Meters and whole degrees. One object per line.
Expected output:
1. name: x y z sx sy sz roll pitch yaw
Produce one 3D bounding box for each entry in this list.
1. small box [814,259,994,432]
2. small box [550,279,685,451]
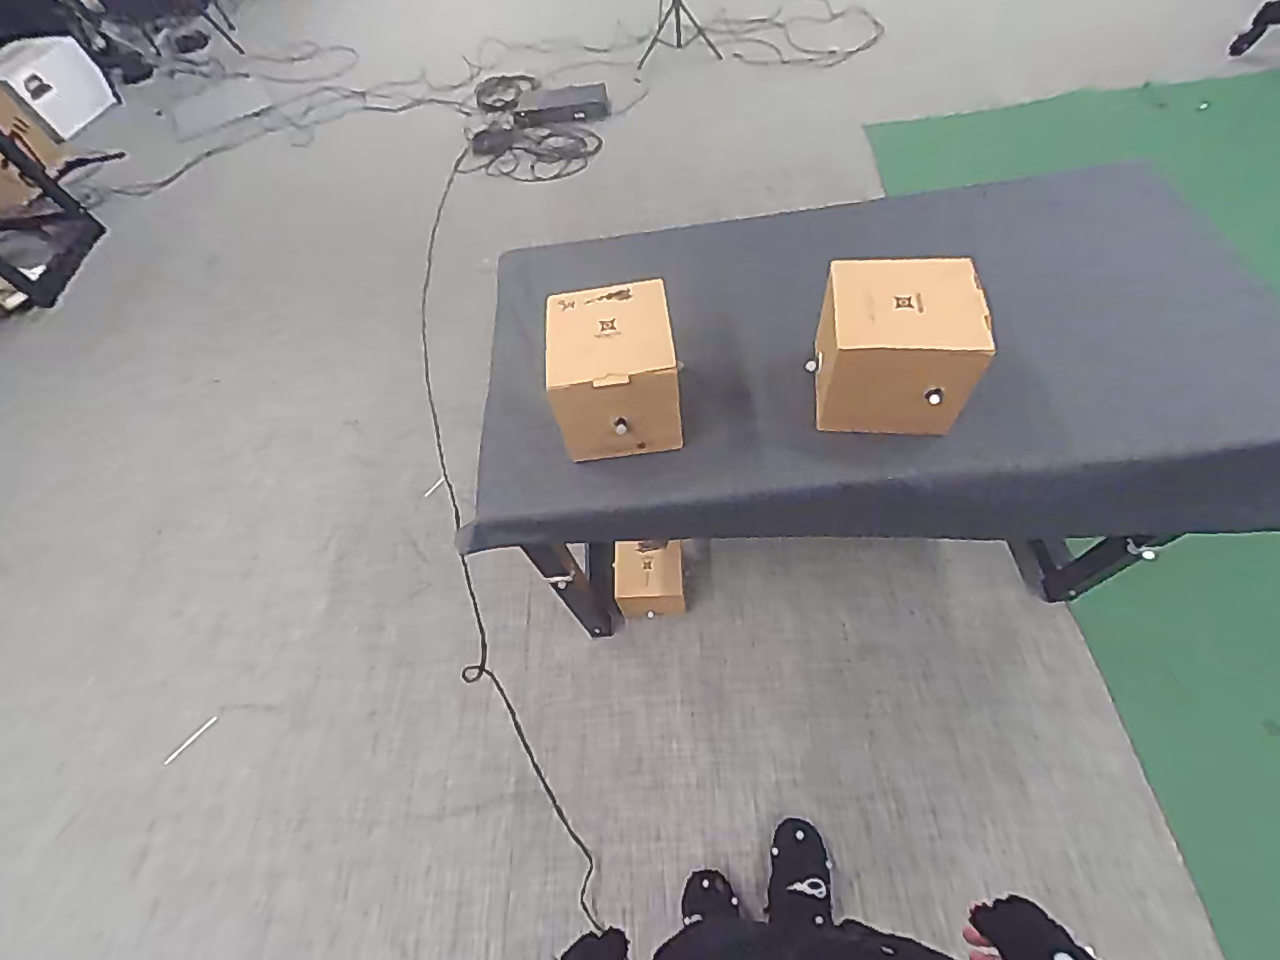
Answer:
1. small box: 0.344 -0.178 0.744 0.179 0.176 0.168 2 58 10
2. small box: -0.028 -0.154 0.778 0.168 0.176 0.179 -7 58 3
